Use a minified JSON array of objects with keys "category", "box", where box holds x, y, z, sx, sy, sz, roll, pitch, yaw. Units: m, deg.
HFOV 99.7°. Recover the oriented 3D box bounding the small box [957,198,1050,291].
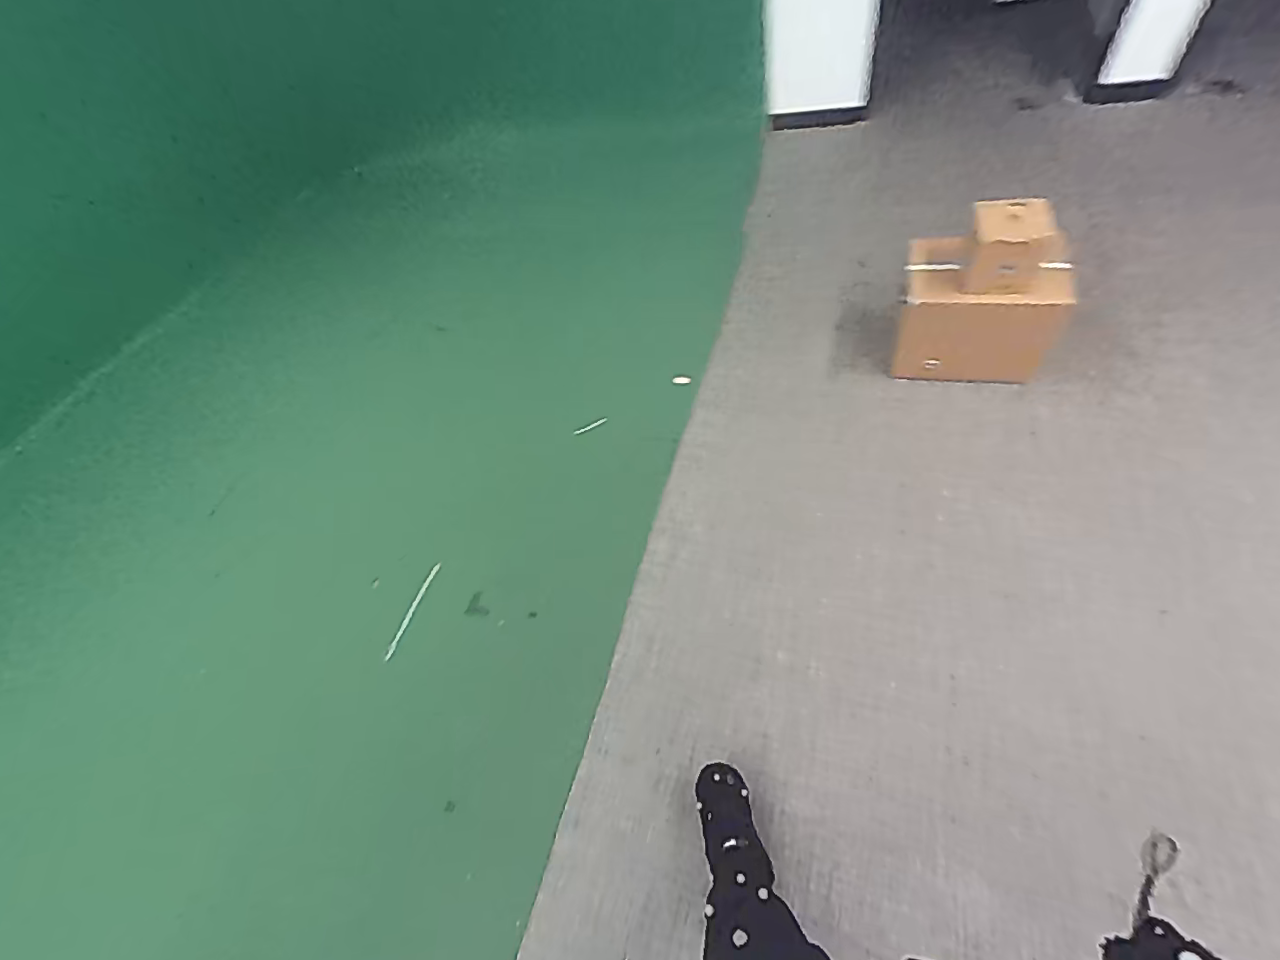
[{"category":"small box","box":[0.977,-0.632,1.468,0.168,0.176,0.179,5,59,17]}]
